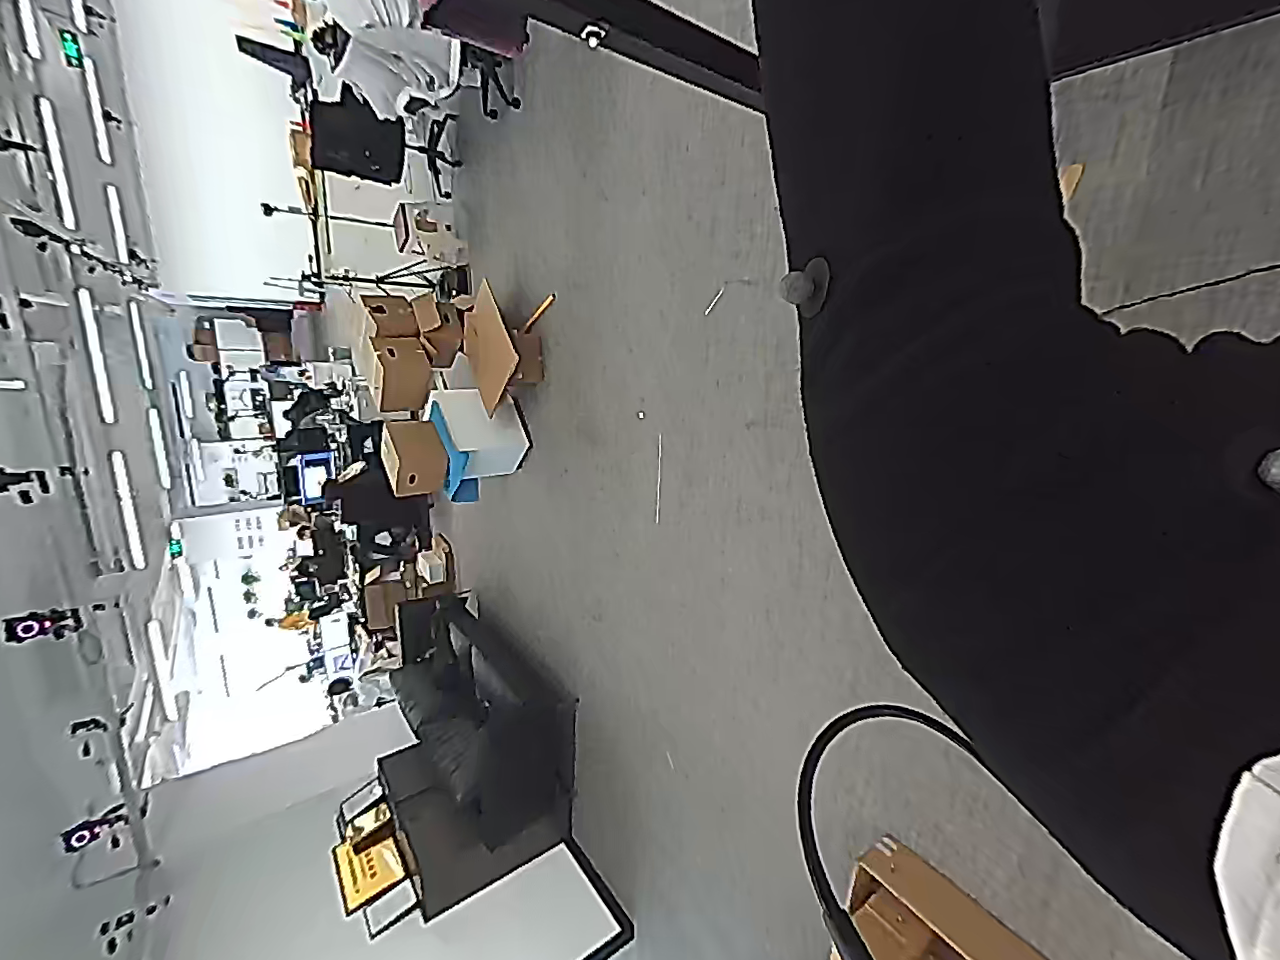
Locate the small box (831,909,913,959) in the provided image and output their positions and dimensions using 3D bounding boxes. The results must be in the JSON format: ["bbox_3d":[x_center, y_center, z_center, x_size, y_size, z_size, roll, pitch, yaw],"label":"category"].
[{"bbox_3d":[0.724,1.513,1.693,0.179,0.176,0.168,22,113,50],"label":"small box"}]
